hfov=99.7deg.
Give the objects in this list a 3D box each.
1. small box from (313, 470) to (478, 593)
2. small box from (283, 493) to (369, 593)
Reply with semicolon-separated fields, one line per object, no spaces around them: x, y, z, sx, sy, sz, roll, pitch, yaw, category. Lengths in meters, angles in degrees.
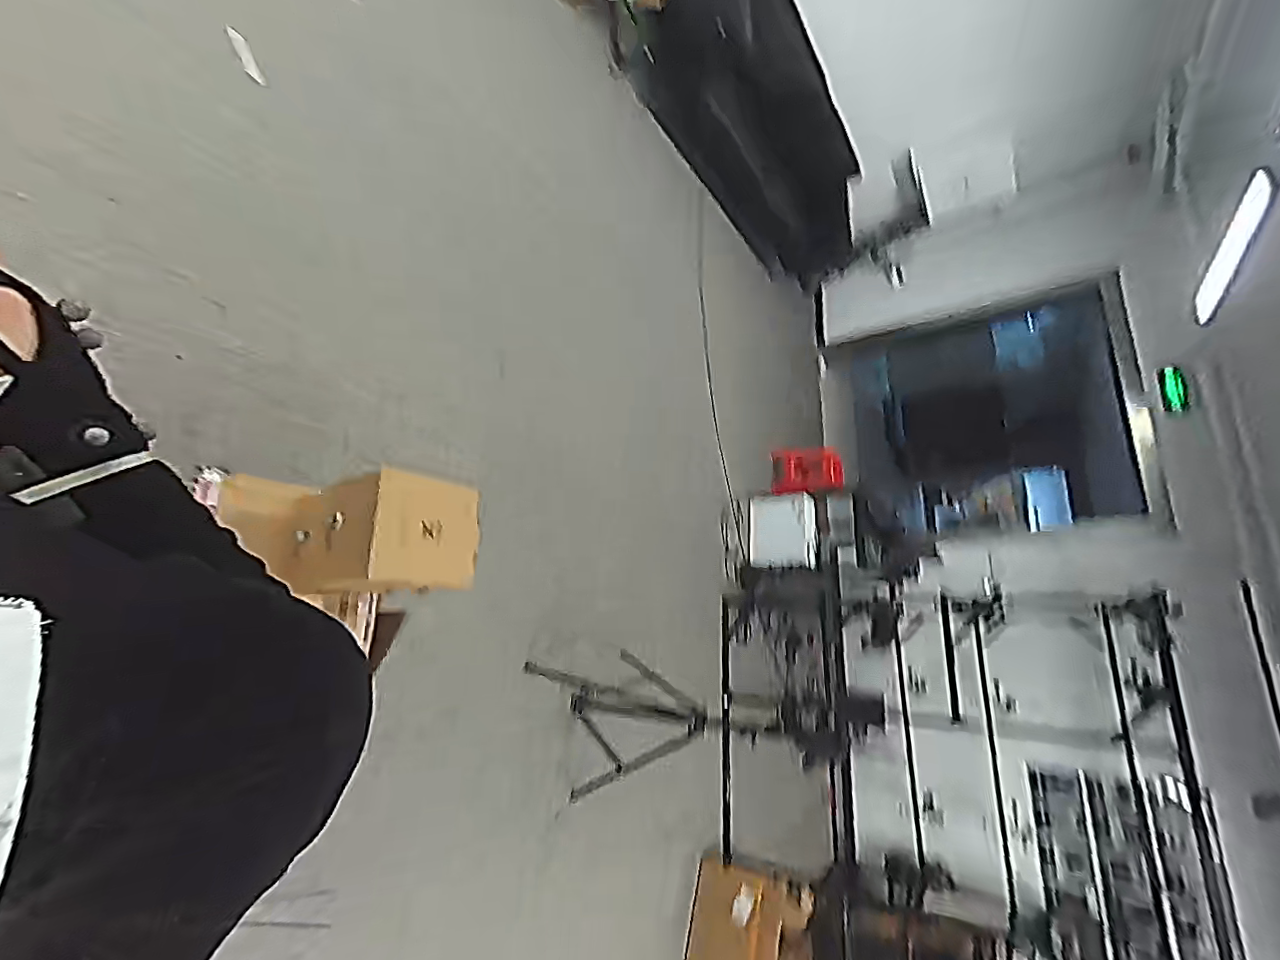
-0.392;0.093;0.877;0.179;0.176;0.168;20;65;-50;small box
-0.510;0.116;0.989;0.179;0.176;0.168;21;65;-50;small box
